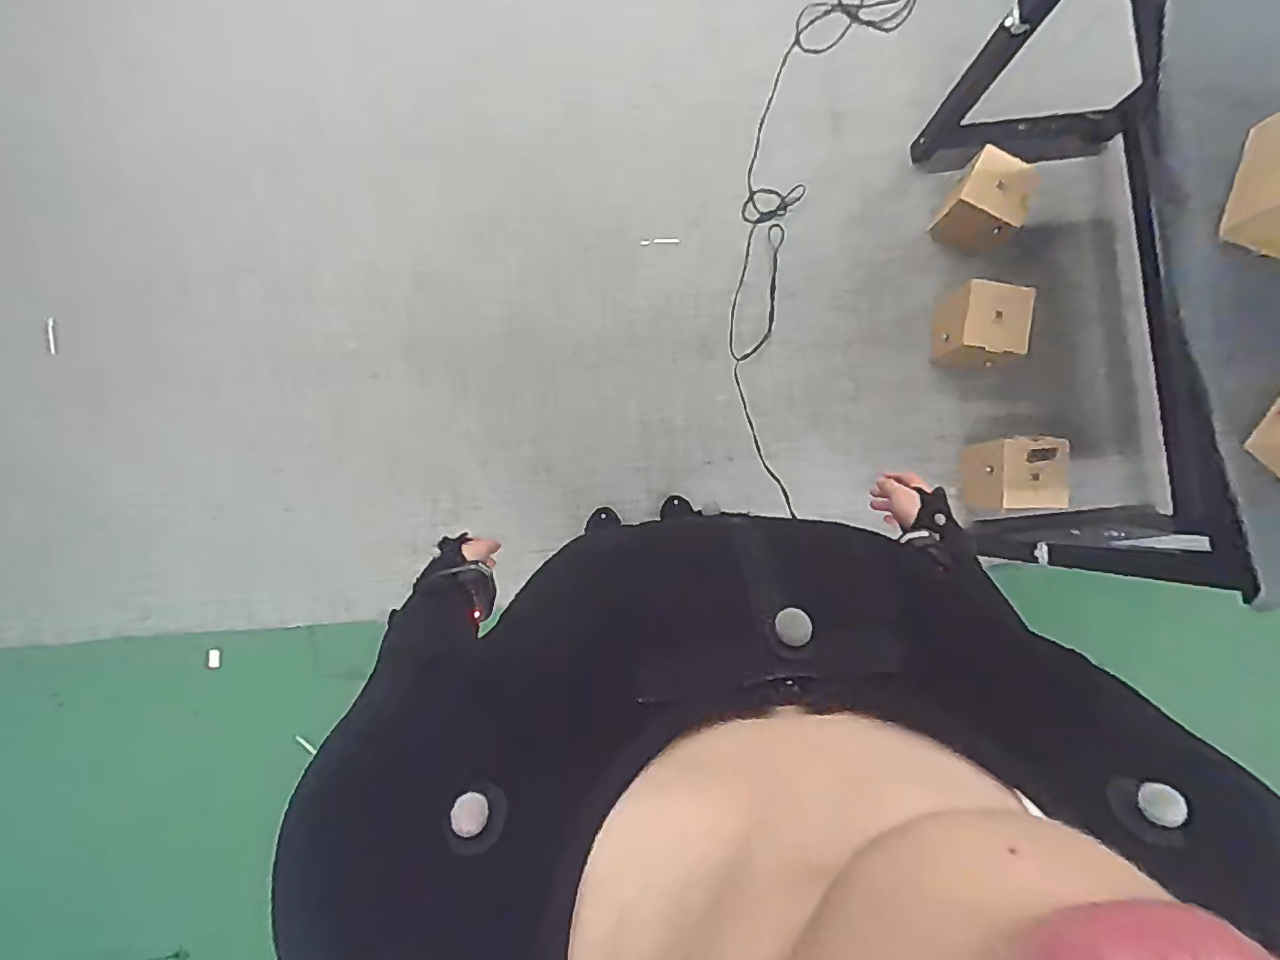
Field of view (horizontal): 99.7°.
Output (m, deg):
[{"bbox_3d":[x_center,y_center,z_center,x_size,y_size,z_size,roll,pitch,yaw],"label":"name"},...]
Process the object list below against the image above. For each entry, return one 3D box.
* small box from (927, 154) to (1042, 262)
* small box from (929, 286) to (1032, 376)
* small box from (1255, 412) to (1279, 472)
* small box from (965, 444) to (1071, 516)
[{"bbox_3d":[0.923,-0.728,1.468,0.179,0.176,0.168,28,86,1],"label":"small box"},{"bbox_3d":[0.899,-0.389,1.443,0.168,0.176,0.179,9,84,0],"label":"small box"},{"bbox_3d":[0.971,-0.058,0.684,0.179,0.176,0.168,41,84,3],"label":"small box"},{"bbox_3d":[0.978,0.005,1.413,0.168,0.176,0.179,0,87,1],"label":"small box"}]
